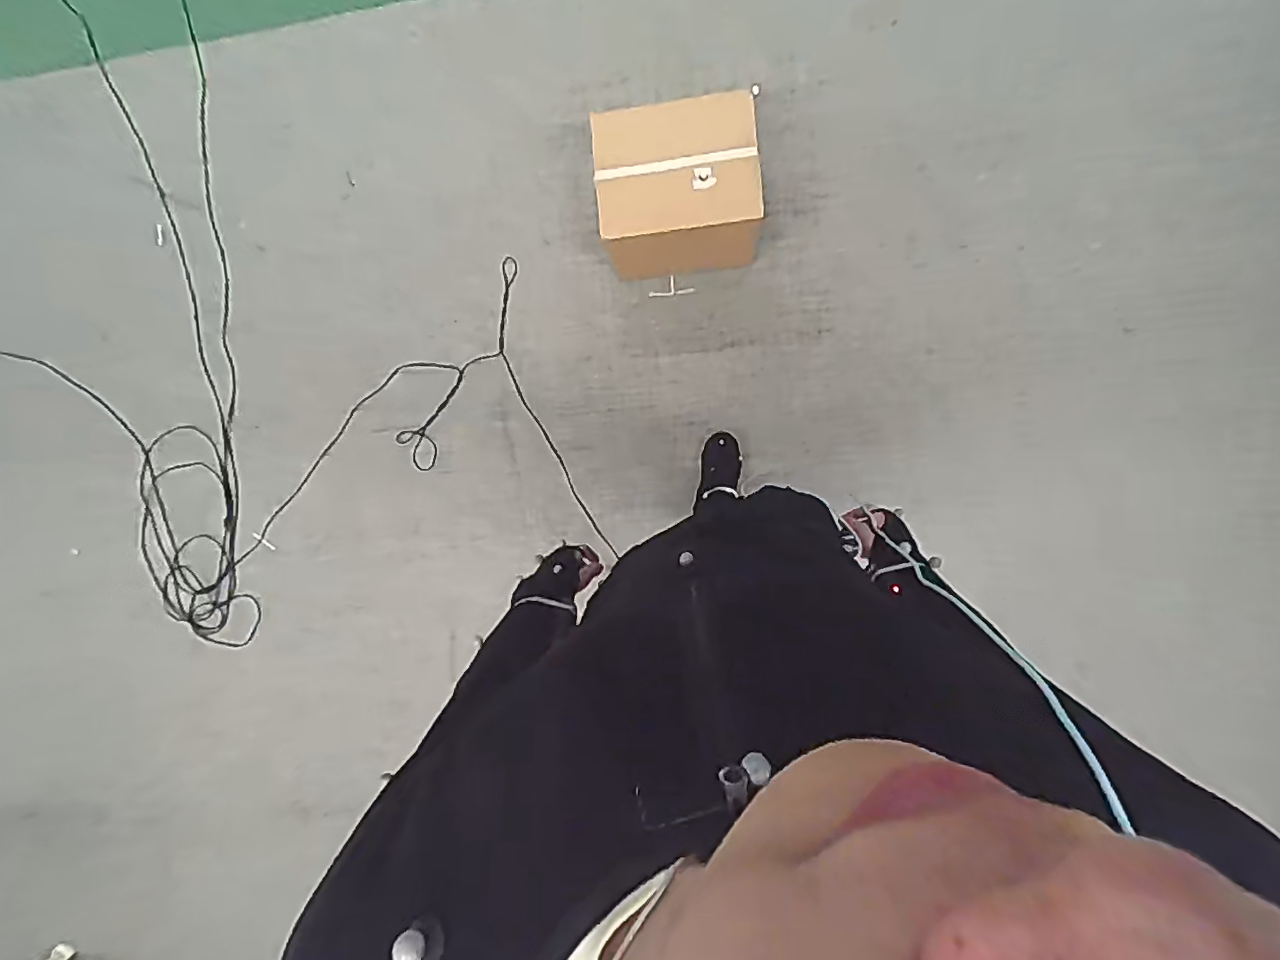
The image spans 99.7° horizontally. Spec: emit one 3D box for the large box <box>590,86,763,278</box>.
[{"bbox_3d":[0.101,-0.782,1.476,0.408,0.320,0.320,-6,91,6],"label":"large box"}]
